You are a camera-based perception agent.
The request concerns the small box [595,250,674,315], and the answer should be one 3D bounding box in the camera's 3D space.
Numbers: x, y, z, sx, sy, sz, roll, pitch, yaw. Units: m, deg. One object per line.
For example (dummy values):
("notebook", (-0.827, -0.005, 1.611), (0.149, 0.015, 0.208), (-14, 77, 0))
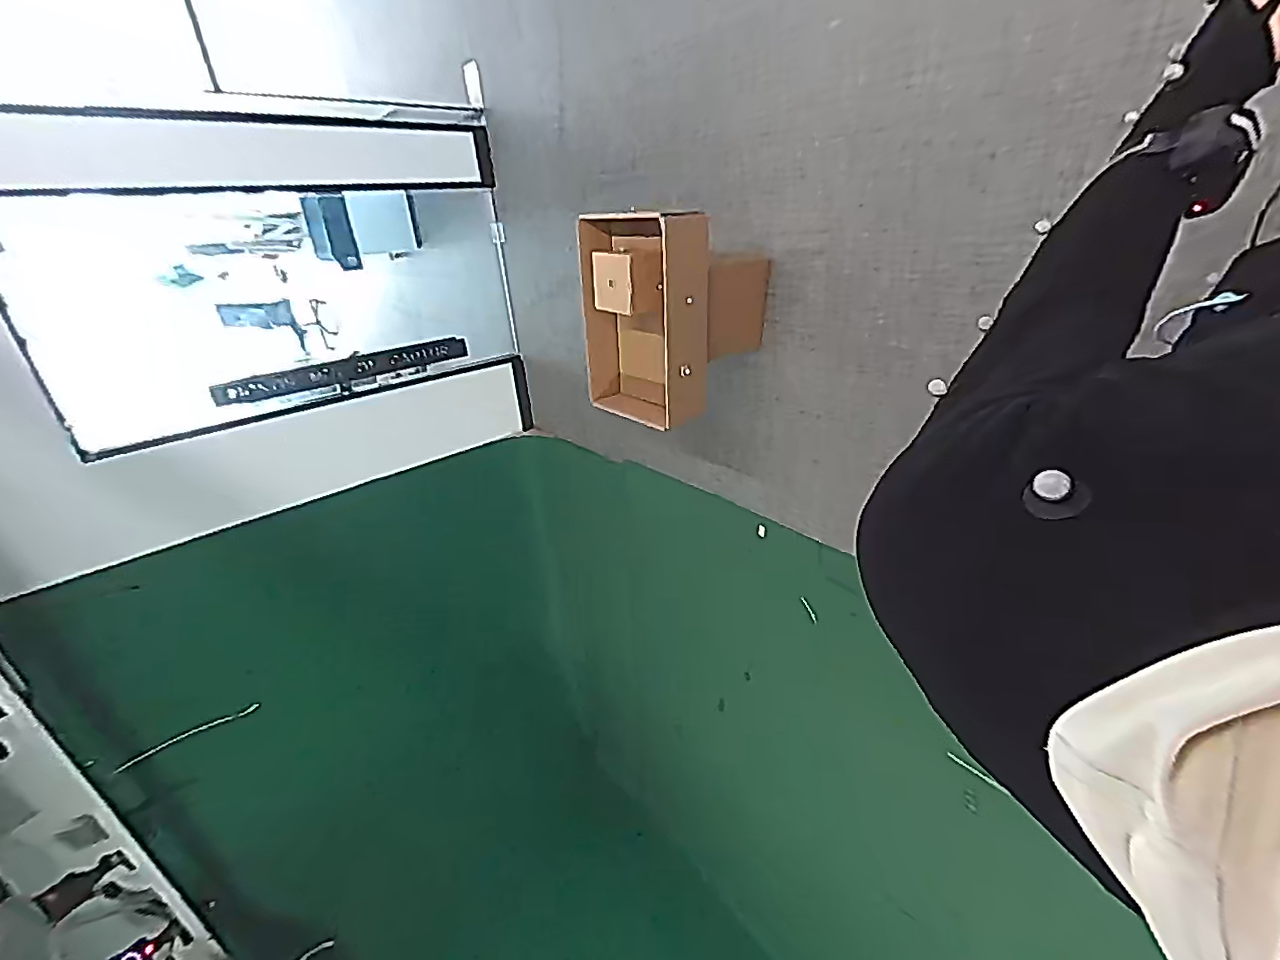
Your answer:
("small box", (-0.019, -0.609, 1.654), (0.179, 0.176, 0.168), (26, 127, 42))
